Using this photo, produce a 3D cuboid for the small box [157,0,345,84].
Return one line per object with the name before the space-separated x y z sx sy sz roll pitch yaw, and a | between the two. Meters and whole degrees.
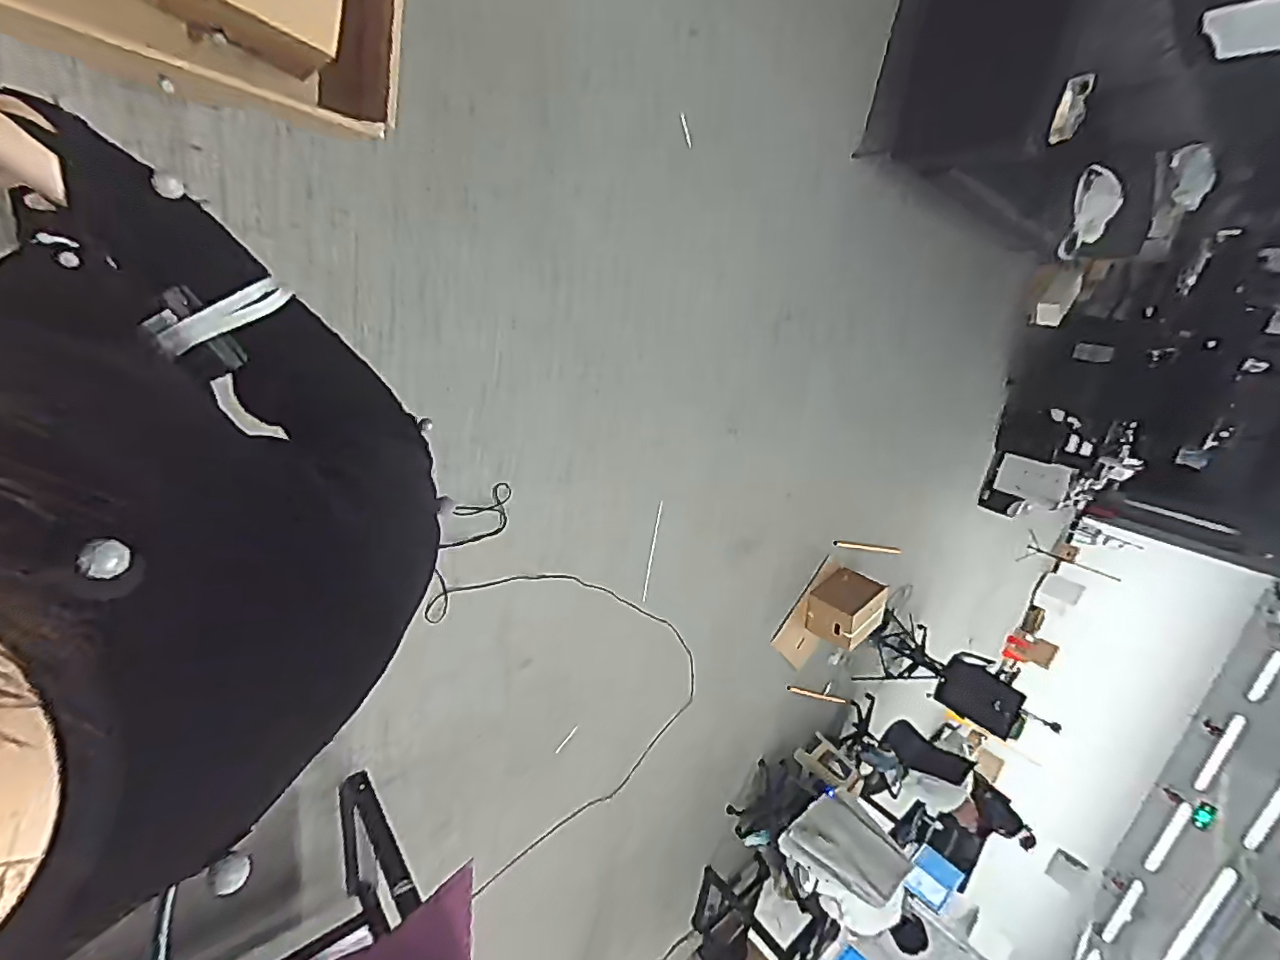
small box | -0.448 -0.606 0.624 0.168 0.176 0.179 4 106 -43
